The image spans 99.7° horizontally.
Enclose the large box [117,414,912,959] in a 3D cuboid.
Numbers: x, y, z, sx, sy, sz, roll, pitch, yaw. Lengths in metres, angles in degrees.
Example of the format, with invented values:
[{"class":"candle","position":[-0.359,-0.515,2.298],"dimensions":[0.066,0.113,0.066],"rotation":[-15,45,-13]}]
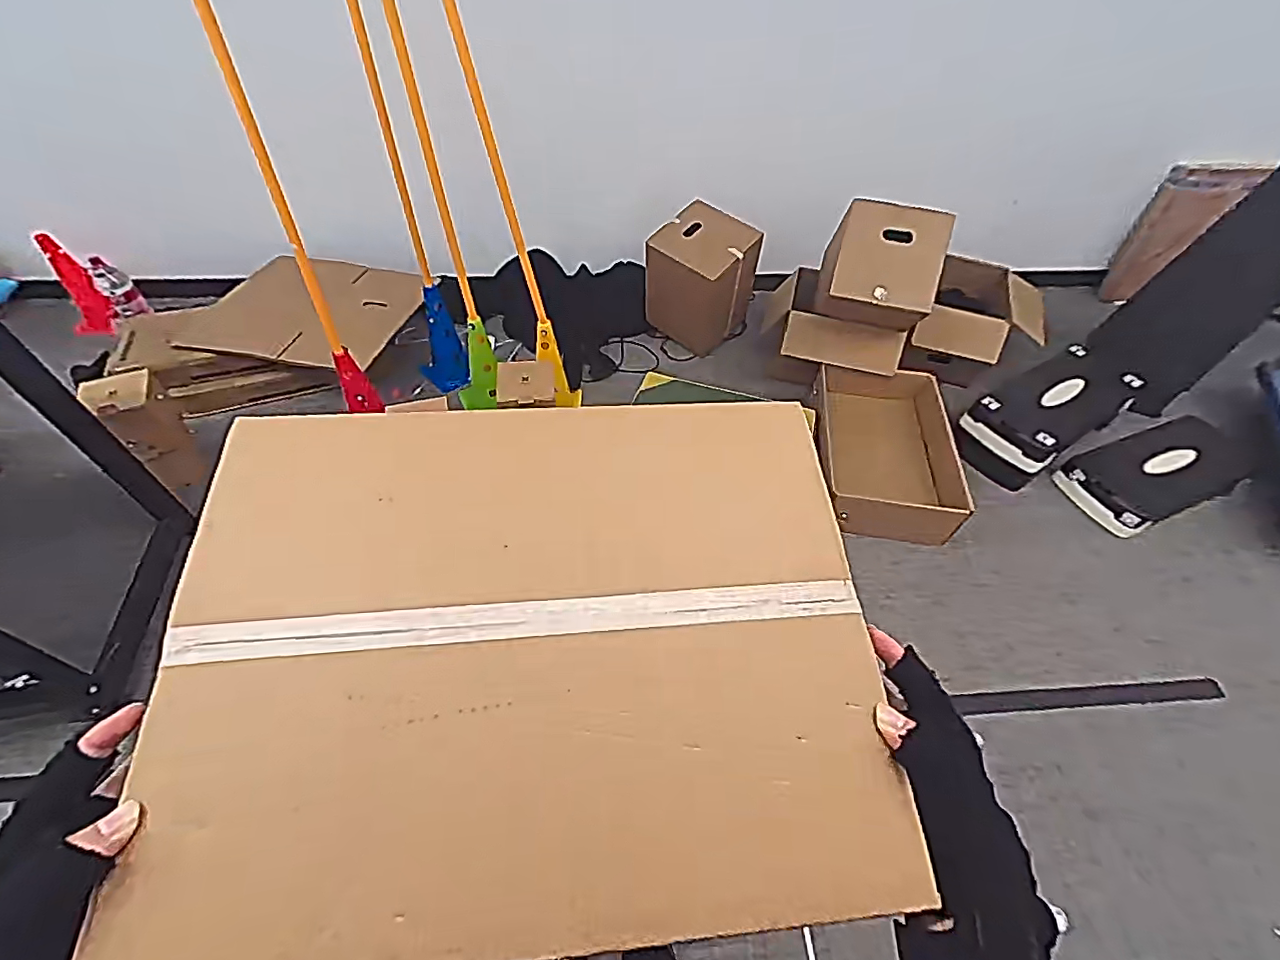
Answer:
[{"class":"large box","position":[-0.074,0.163,0.468],"dimensions":[0.408,0.320,0.320],"rotation":[-3,63,-6]}]
